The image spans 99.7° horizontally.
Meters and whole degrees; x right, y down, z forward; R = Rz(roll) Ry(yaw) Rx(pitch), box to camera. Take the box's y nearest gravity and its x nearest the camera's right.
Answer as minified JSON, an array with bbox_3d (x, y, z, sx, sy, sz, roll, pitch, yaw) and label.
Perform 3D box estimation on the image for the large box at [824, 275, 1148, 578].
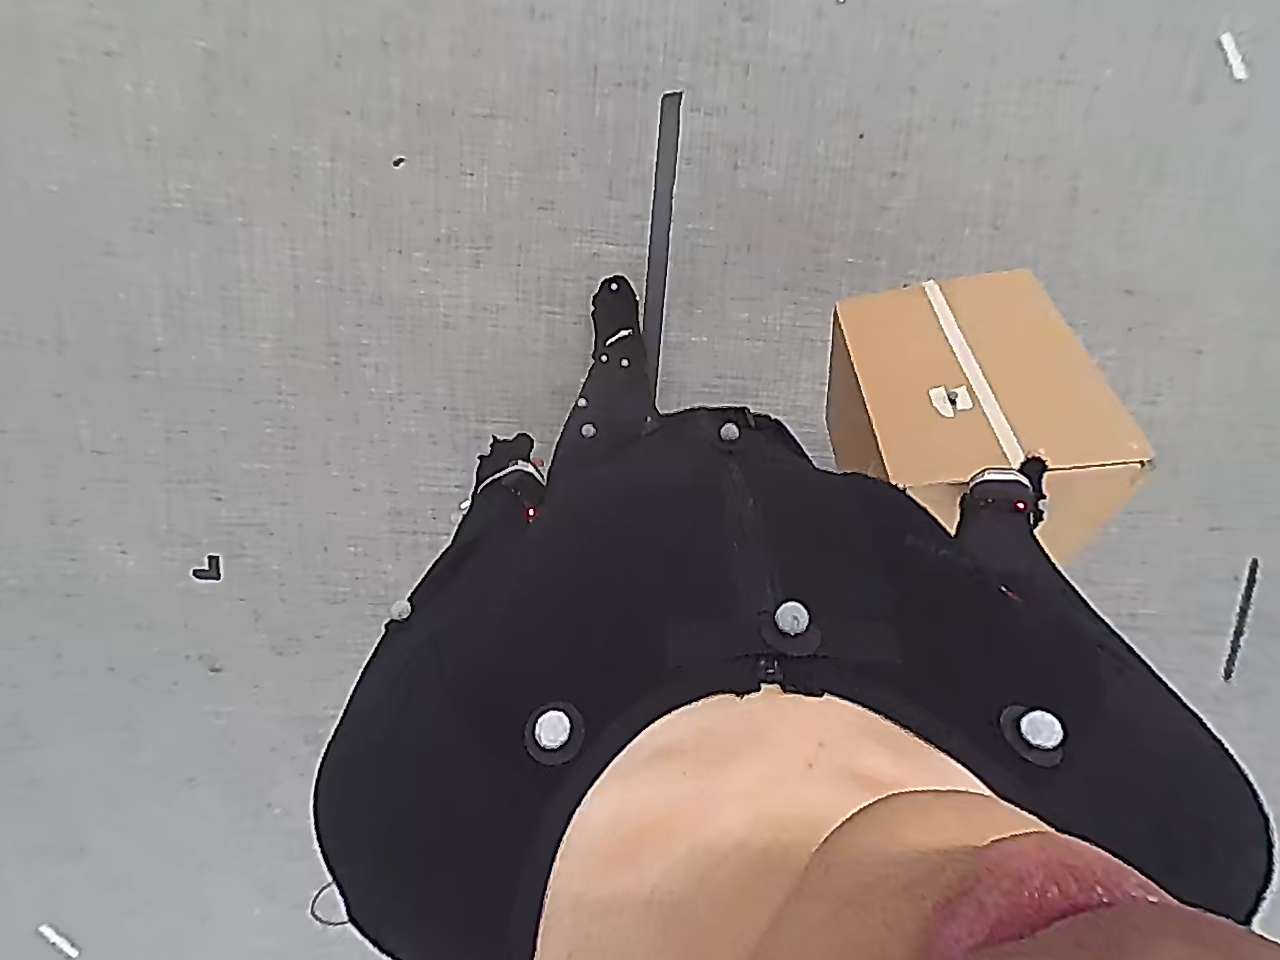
[{"bbox_3d":[0.526,-0.084,0.942,0.320,0.408,0.320,-7,145,11],"label":"large box"}]
